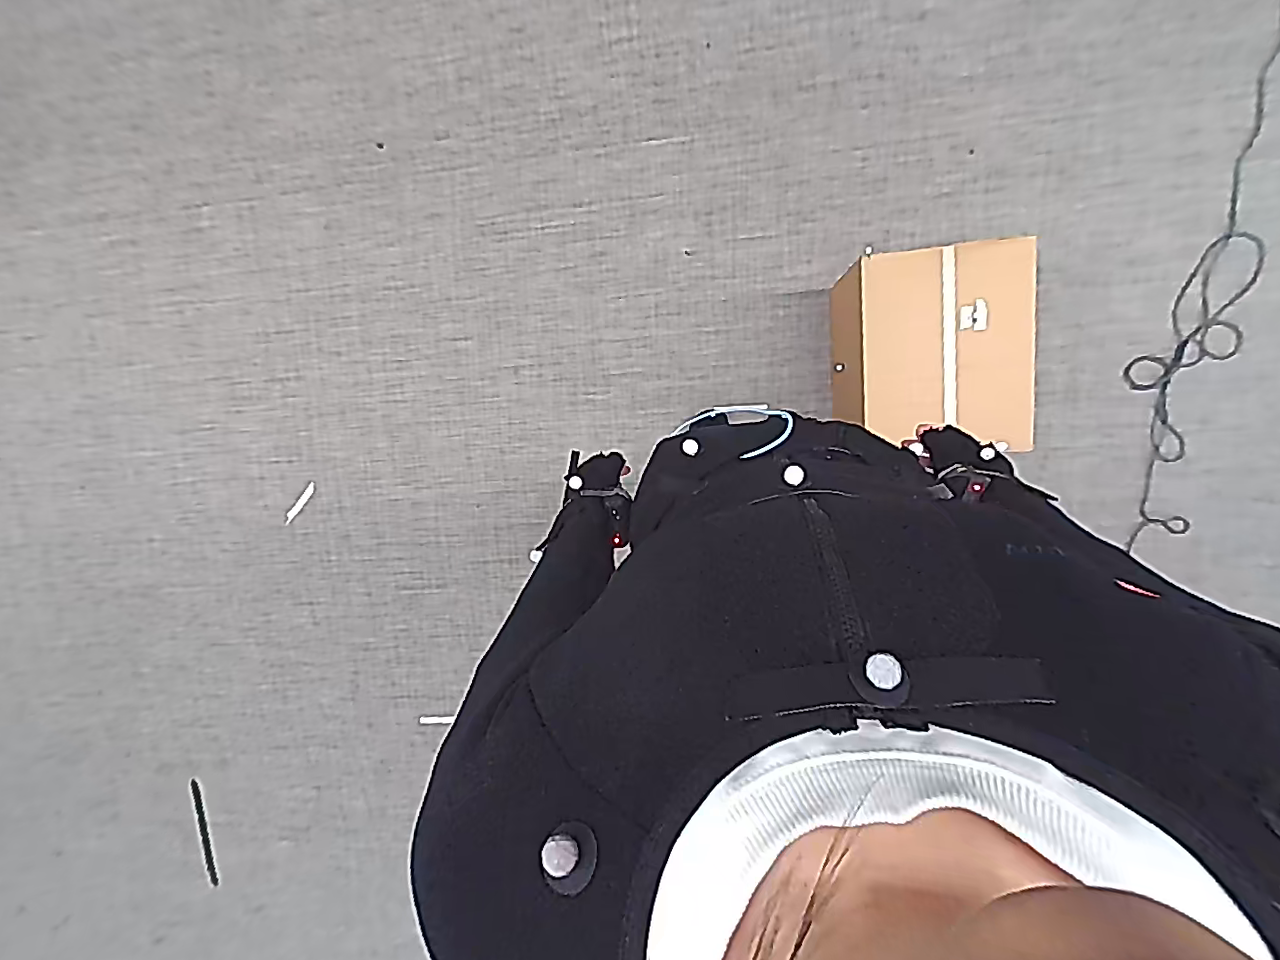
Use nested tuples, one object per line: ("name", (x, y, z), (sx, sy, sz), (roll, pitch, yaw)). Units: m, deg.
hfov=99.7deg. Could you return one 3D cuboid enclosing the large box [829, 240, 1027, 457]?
("large box", (0.619, -0.269, 1.217), (0.320, 0.320, 0.408), (-3, 96, 8))
